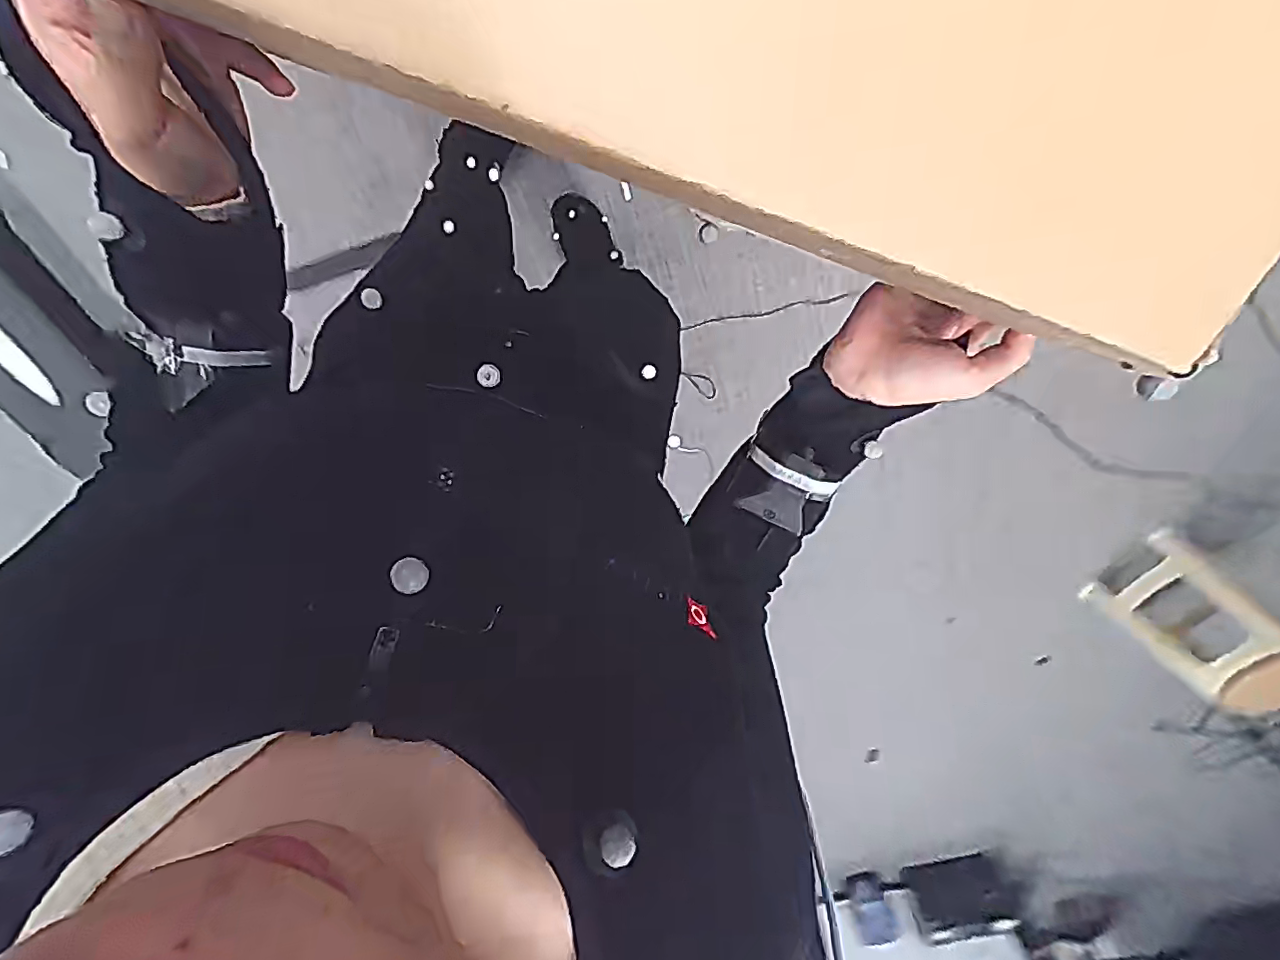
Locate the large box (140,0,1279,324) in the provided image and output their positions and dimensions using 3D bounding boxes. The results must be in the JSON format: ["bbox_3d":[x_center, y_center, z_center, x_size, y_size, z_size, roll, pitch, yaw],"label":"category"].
[{"bbox_3d":[0.030,-0.290,0.197,0.408,0.320,0.320,11,119,-14],"label":"large box"}]
